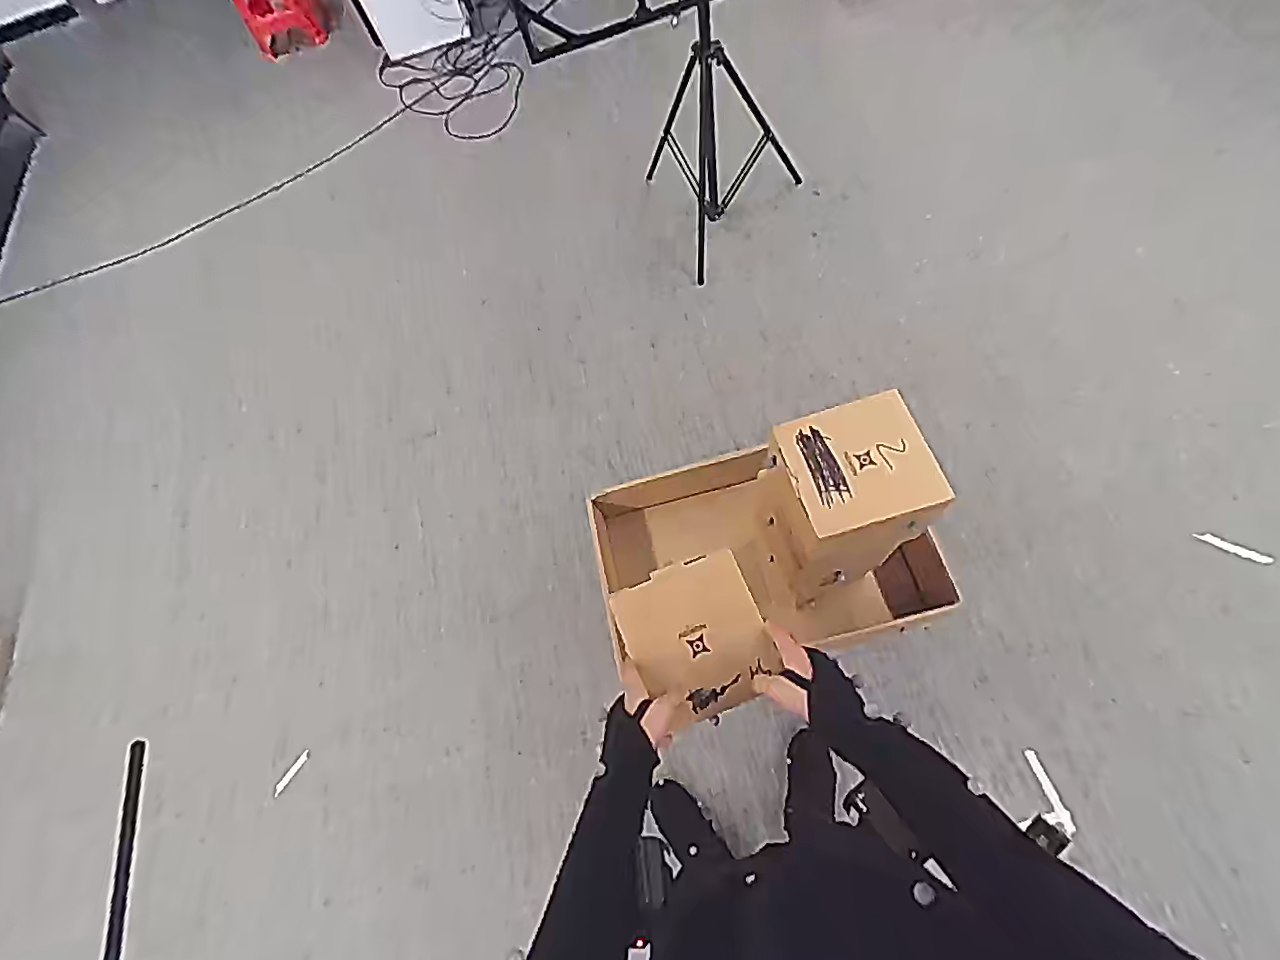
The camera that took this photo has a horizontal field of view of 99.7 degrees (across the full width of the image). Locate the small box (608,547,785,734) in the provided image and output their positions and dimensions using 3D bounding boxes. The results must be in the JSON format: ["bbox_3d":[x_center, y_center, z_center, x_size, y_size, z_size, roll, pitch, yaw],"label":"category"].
[{"bbox_3d":[0.072,0.207,0.724,0.168,0.176,0.179,-23,76,1],"label":"small box"}]

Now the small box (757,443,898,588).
[{"bbox_3d":[0.301,0.067,0.914,0.168,0.176,0.179,-17,66,5],"label":"small box"}]
